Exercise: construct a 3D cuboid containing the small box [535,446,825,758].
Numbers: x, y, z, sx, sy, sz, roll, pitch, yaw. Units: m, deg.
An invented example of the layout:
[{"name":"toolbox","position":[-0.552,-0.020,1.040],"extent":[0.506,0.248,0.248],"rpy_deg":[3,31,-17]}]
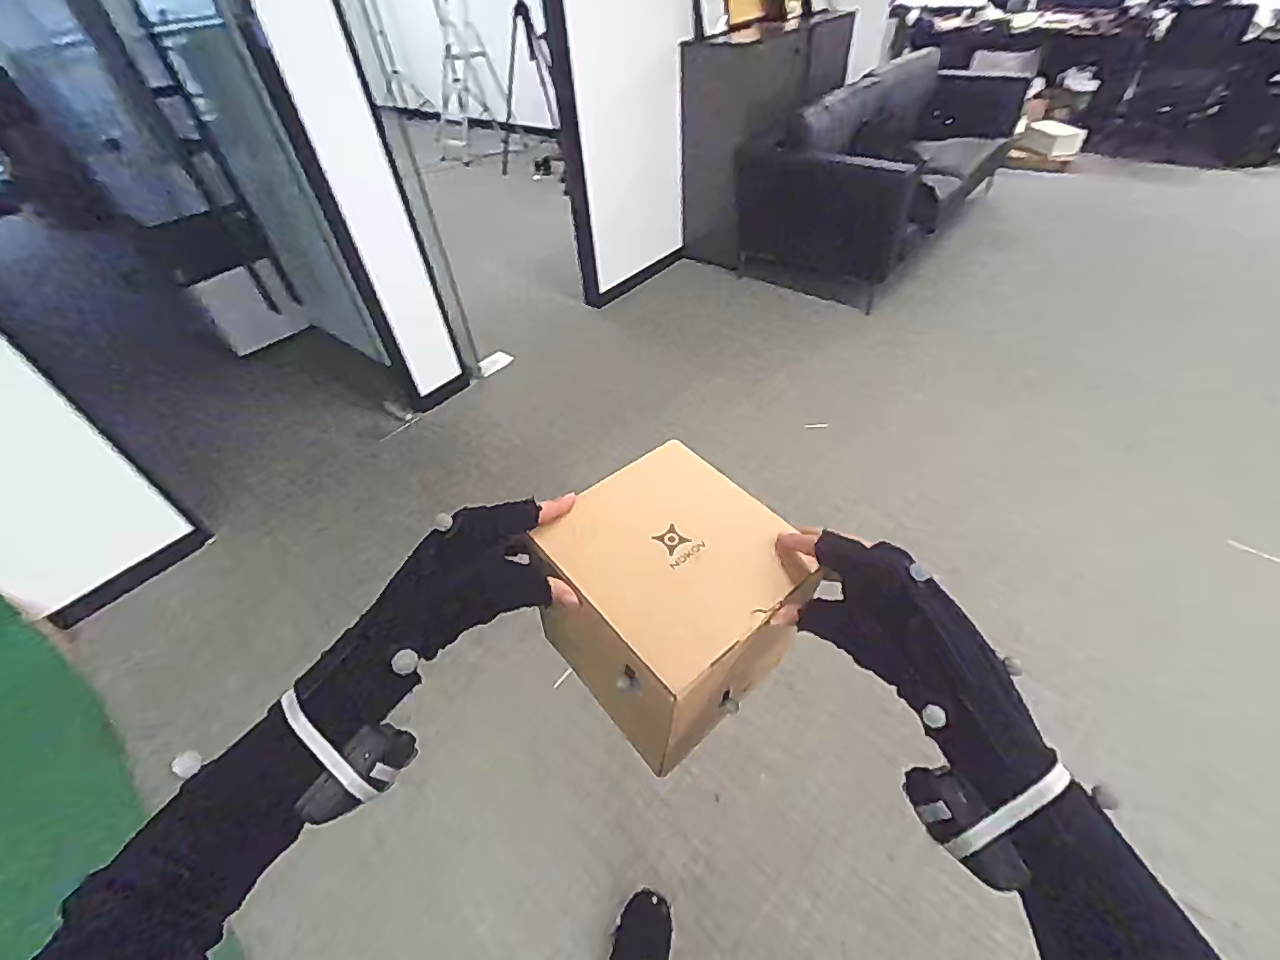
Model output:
[{"name":"small box","position":[0.025,0.107,0.484],"extent":[0.168,0.176,0.179],"rpy_deg":[-30,56,-28]}]
